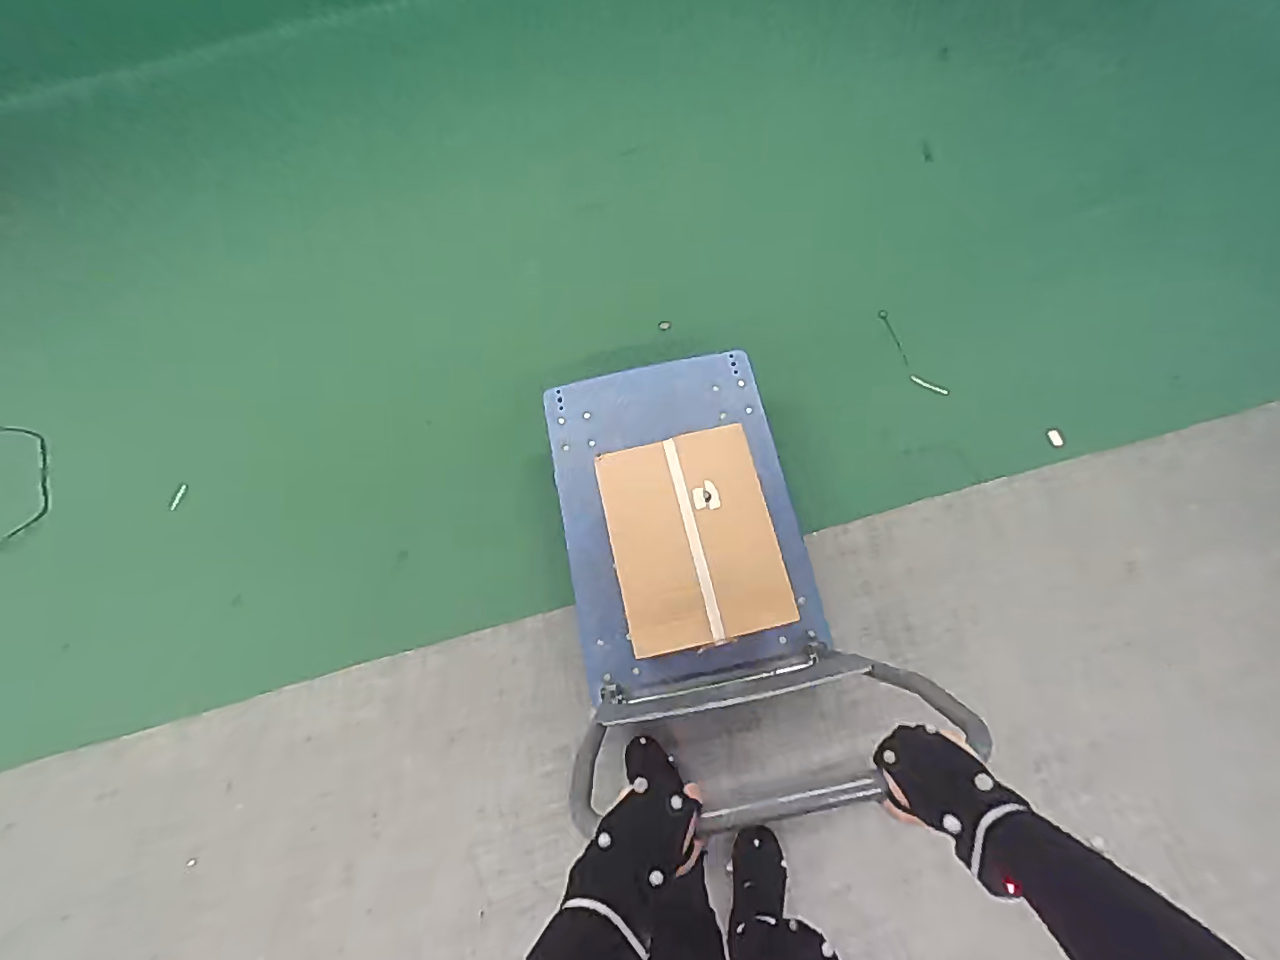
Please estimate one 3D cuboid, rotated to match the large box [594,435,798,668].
[{"bbox_3d":[0.110,0.167,1.188,0.320,0.320,0.408,-13,74,-1],"label":"large box"}]
